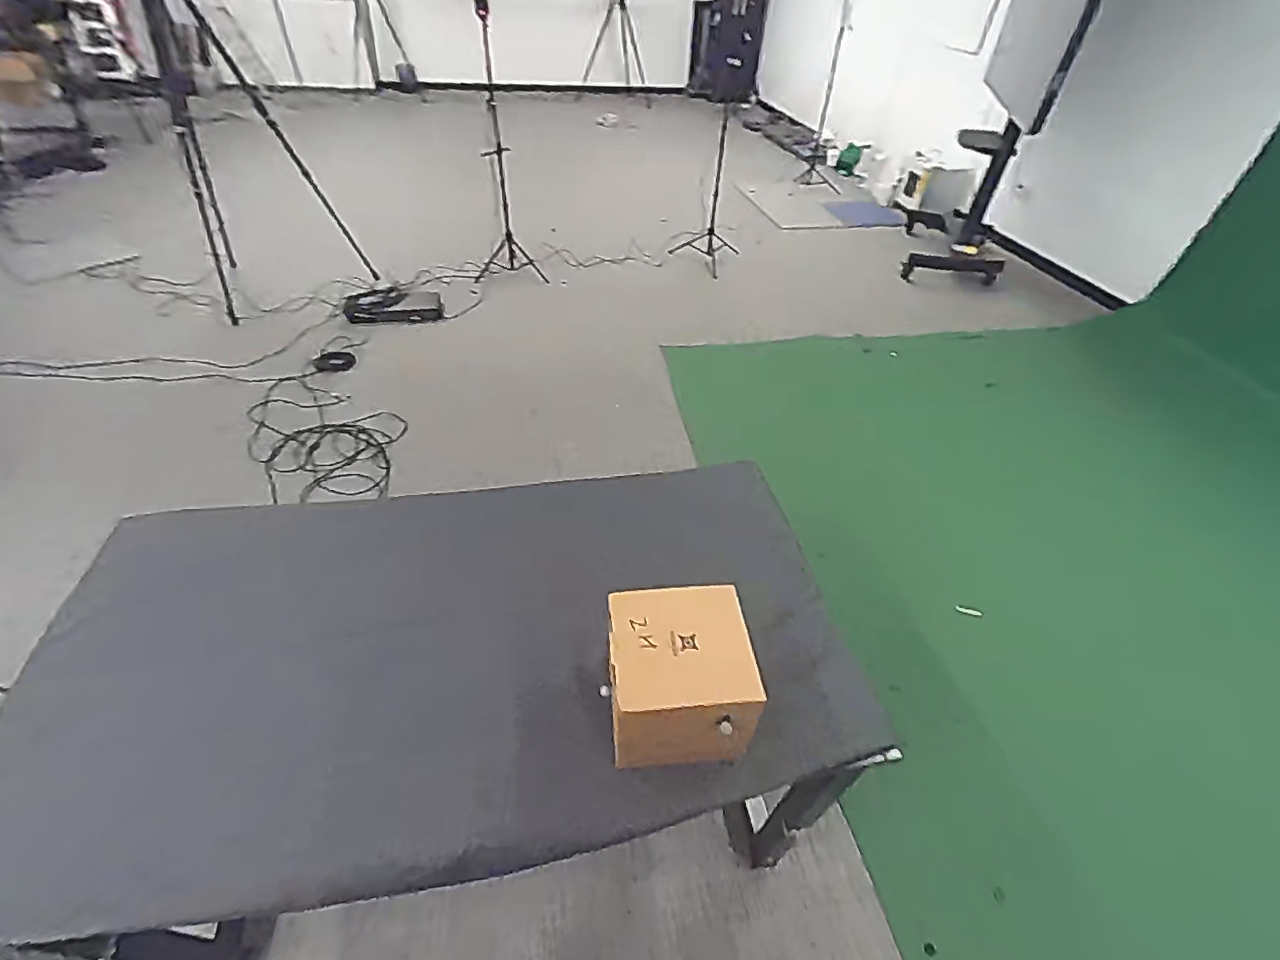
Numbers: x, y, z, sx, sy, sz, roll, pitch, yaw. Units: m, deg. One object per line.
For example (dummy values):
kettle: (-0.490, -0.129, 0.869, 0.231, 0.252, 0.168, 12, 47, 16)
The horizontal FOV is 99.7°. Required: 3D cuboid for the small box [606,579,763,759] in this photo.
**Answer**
small box: (0.045, 0.251, 0.720, 0.179, 0.176, 0.168, -2, 43, -6)
